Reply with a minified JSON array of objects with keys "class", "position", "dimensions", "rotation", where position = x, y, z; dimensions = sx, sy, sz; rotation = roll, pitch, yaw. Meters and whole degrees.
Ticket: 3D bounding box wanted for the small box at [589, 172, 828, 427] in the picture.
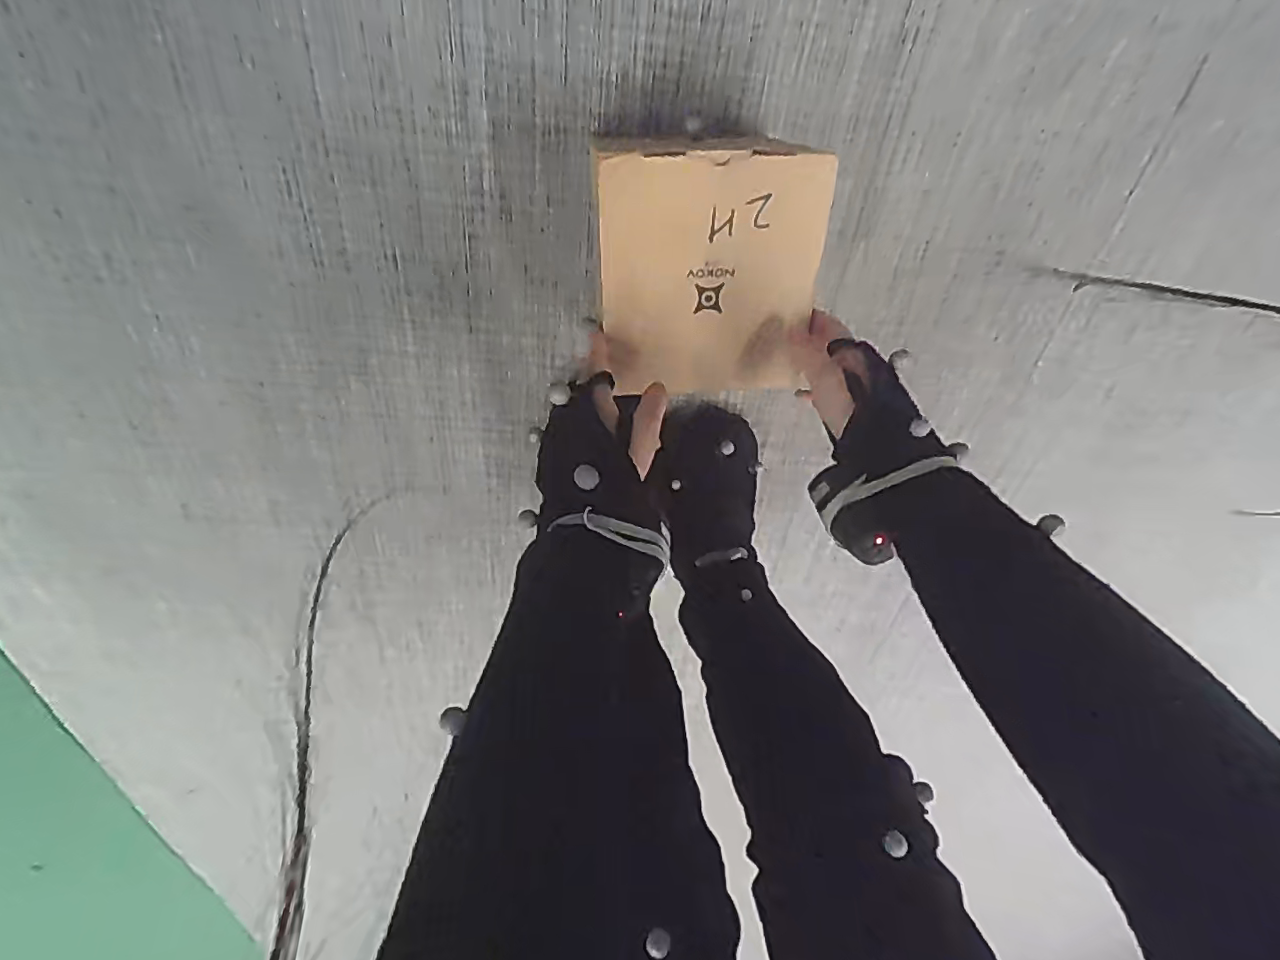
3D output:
[{"class":"small box","position":[0.042,-0.165,0.479],"dimensions":[0.168,0.176,0.179],"rotation":[-4,124,-5]}]
